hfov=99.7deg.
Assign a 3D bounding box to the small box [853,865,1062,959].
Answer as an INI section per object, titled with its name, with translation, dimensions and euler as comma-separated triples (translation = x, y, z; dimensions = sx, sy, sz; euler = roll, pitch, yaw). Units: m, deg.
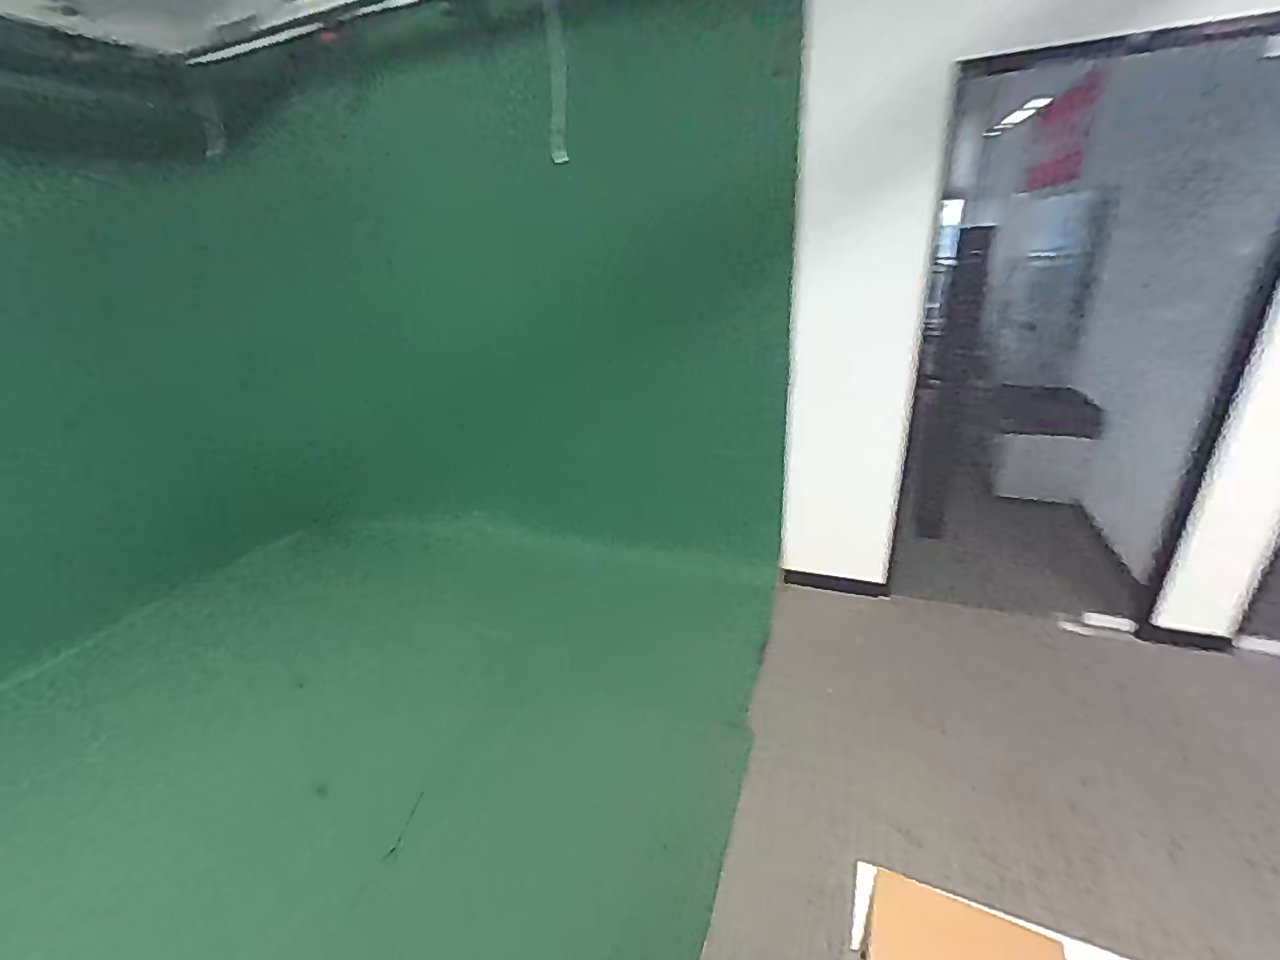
[small box]
translation = 0.304, 0.548, 0.538
dimensions = 0.179, 0.176, 0.168
euler = 11, 26, 24
